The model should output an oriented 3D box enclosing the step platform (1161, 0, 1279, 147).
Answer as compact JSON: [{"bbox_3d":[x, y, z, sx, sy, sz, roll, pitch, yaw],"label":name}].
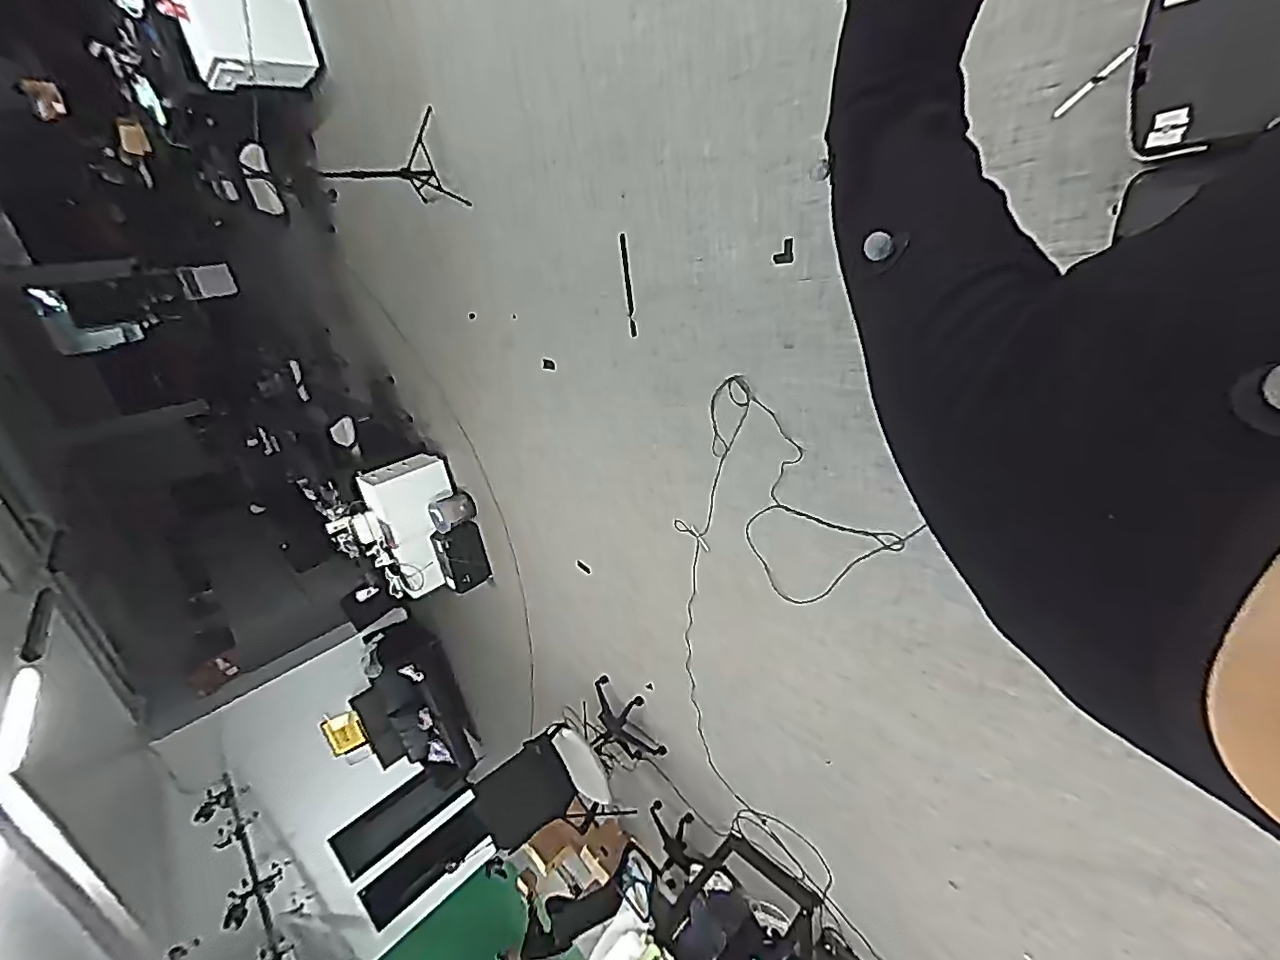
[{"bbox_3d":[1.153,-0.681,0.703,0.684,0.204,0.286,12,121,45],"label":"step platform"}]
